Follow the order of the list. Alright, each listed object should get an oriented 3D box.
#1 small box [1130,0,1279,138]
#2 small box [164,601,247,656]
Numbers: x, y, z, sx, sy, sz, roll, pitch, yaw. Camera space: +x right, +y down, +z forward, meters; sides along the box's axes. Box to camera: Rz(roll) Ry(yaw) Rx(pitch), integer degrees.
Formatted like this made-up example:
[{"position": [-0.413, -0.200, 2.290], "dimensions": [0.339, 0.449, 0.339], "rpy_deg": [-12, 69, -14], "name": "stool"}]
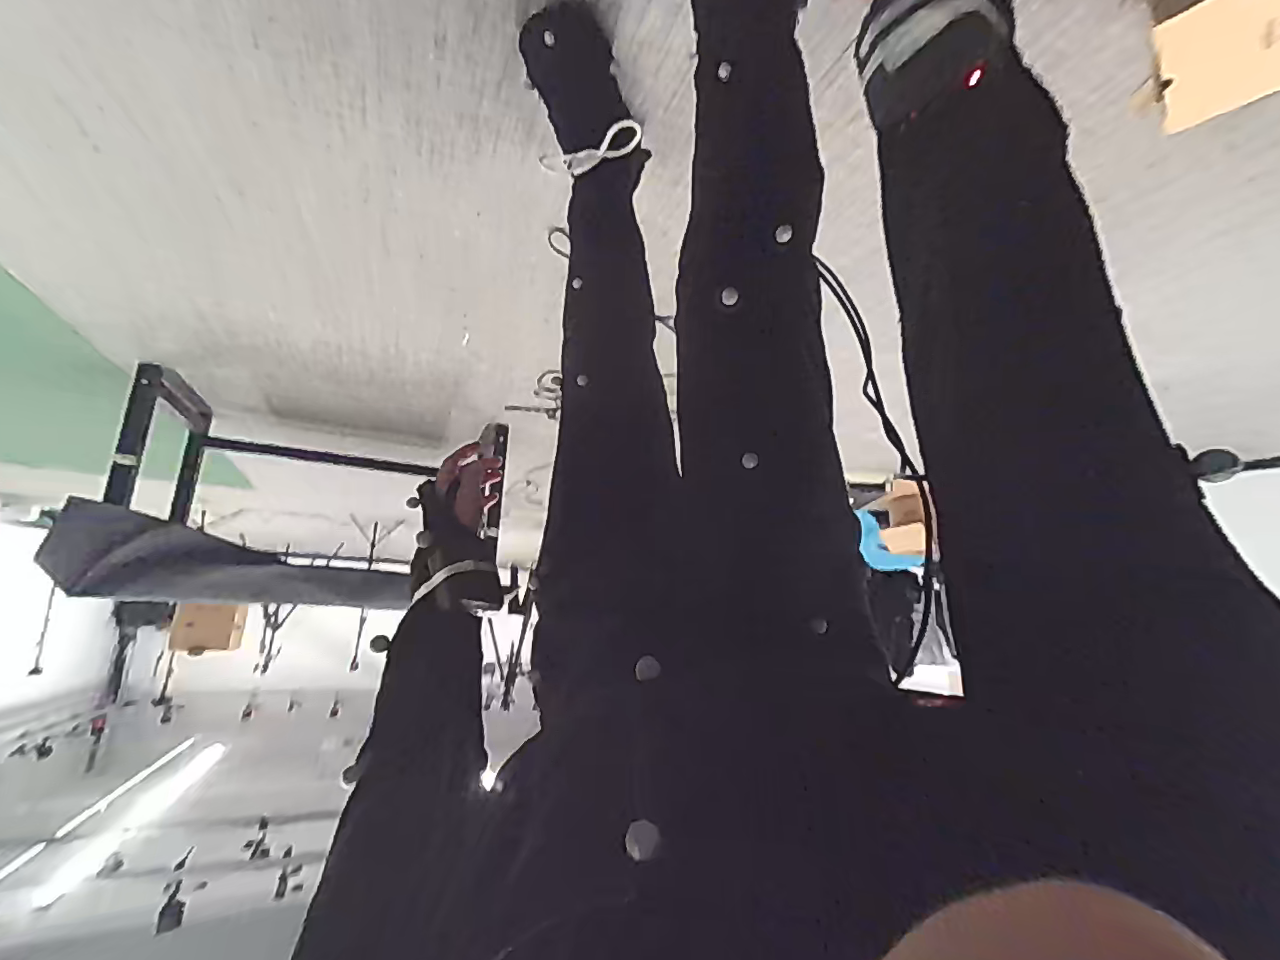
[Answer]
[{"position": [0.580, -0.481, 0.500], "dimensions": [0.168, 0.176, 0.179], "rpy_deg": [14, 162, -42], "name": "small box"}, {"position": [-1.470, 0.501, 1.838], "dimensions": [0.168, 0.176, 0.179], "rpy_deg": [9, 166, -22], "name": "small box"}]
